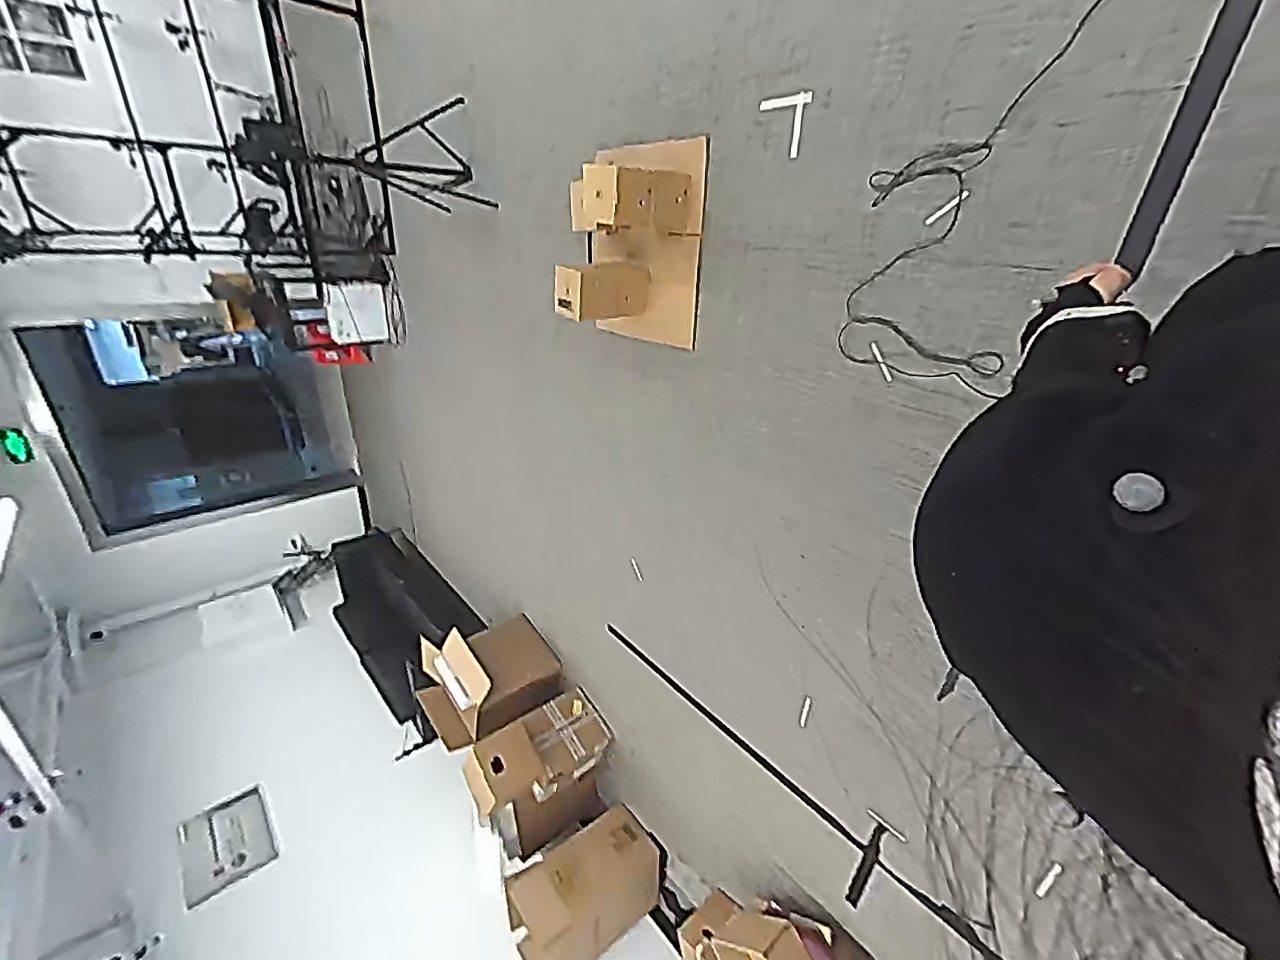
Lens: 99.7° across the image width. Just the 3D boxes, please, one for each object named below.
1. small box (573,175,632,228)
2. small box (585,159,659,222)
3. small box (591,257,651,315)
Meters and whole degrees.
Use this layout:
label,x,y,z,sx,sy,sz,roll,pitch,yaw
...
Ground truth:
label,x,y,z,sx,sy,sz,roll,pitch,yaw
small box,-0.142,-1.076,2.094,0.168,0.176,0.179,24,123,45
small box,-0.061,-0.948,1.776,0.179,0.176,0.168,31,127,39
small box,-0.075,-0.769,2.136,0.168,0.176,0.179,37,133,36
